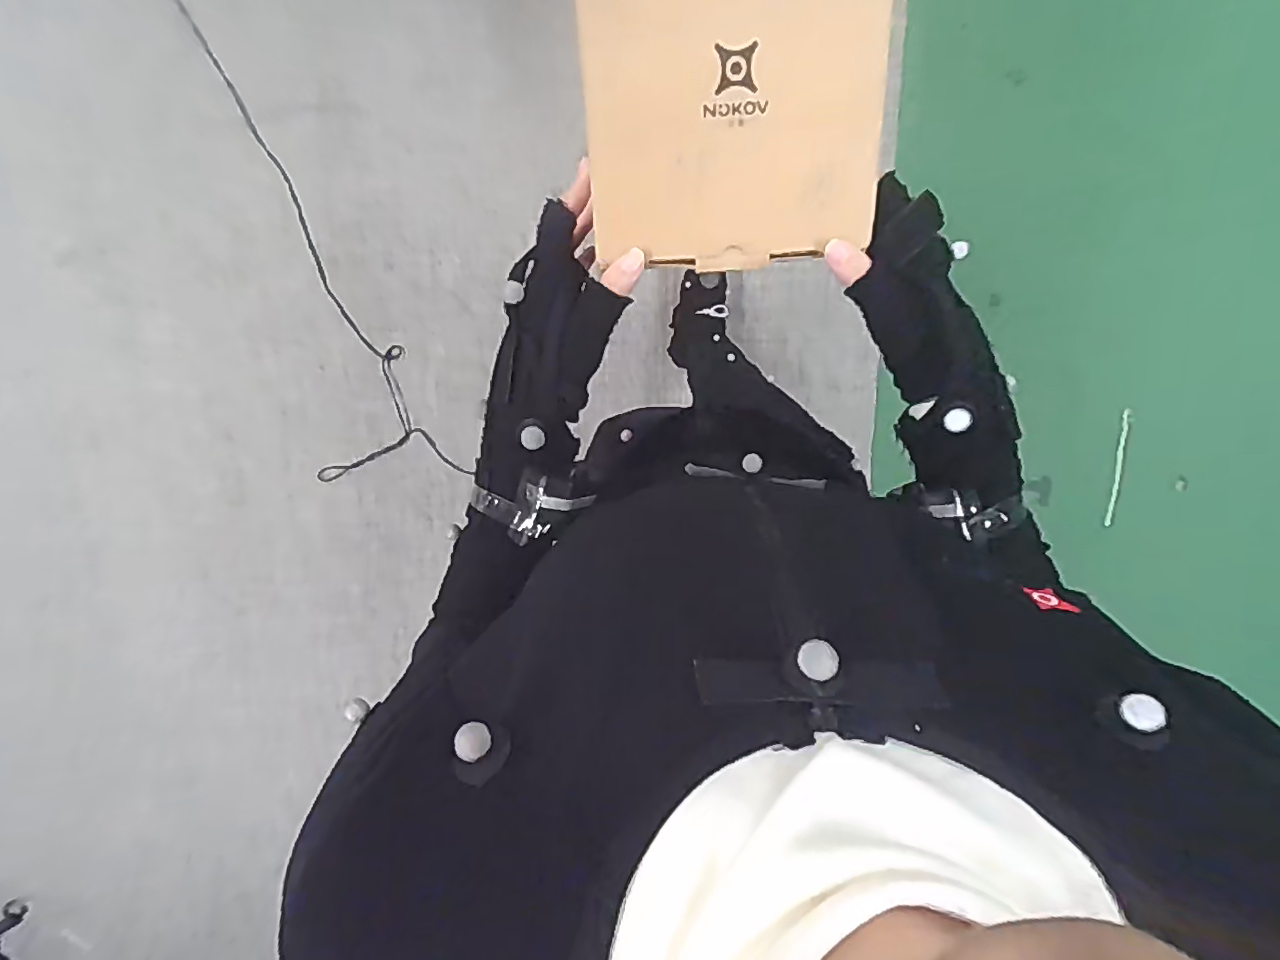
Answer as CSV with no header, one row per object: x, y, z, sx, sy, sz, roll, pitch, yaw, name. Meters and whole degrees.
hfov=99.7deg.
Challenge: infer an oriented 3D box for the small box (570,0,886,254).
0.047,-0.254,0.363,0.168,0.176,0.179,-4,113,1,small box
